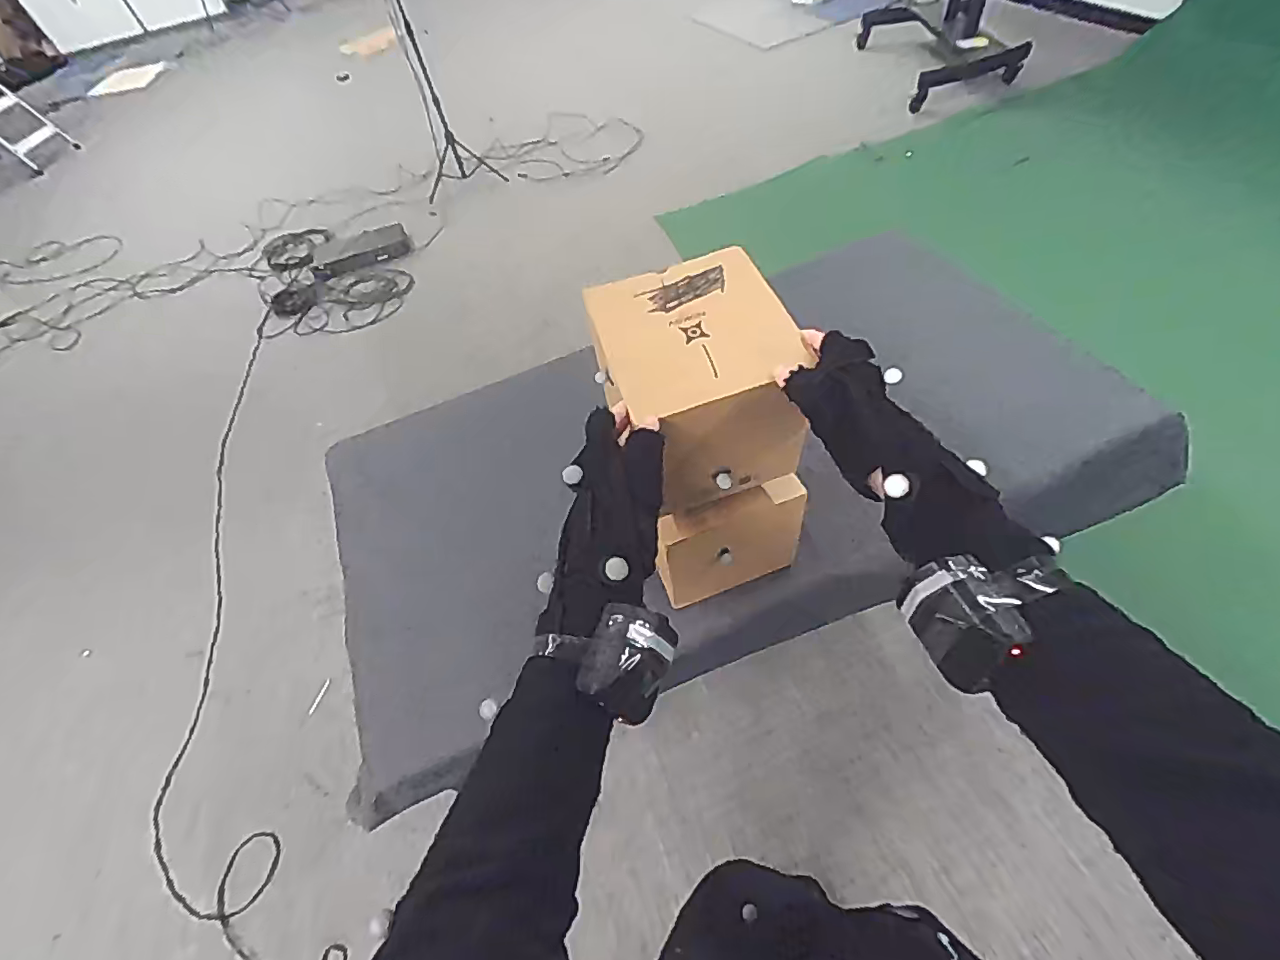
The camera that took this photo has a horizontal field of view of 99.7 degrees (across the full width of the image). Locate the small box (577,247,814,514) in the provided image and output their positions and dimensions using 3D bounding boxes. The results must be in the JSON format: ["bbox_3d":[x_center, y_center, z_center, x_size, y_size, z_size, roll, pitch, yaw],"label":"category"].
[{"bbox_3d":[0.050,-0.095,0.550,0.168,0.176,0.179,-21,57,-5],"label":"small box"}]

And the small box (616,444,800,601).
[{"bbox_3d":[0.088,0.032,0.702,0.179,0.176,0.168,-21,53,-5],"label":"small box"}]
